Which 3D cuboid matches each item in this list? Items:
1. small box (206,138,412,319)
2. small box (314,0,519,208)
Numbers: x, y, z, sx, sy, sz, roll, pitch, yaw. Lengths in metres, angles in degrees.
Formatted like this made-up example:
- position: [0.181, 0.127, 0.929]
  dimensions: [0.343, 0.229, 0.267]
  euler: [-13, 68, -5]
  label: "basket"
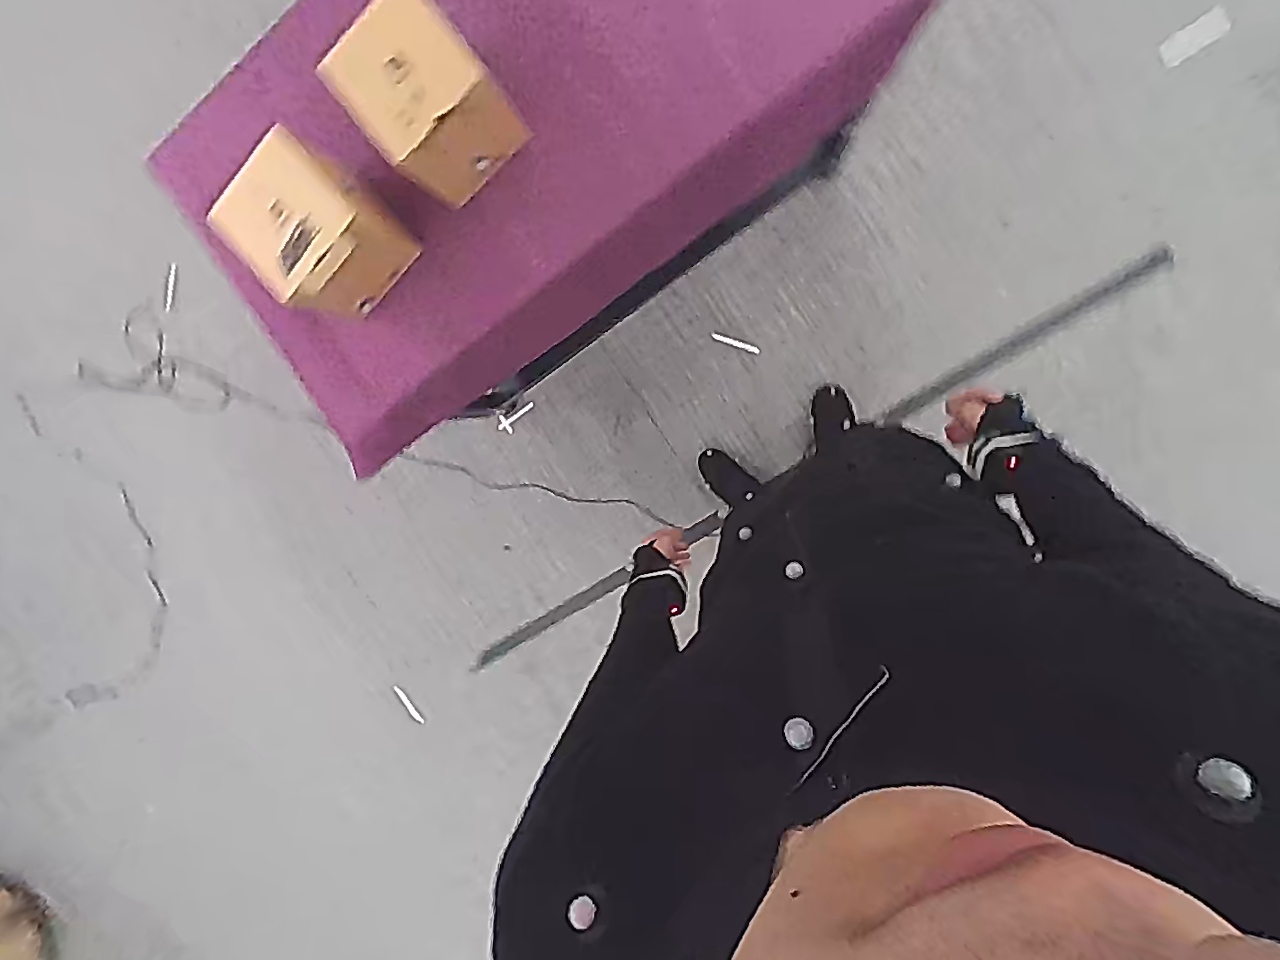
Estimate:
- position: [-0.498, -0.371, 0.840]
  dimensions: [0.168, 0.176, 0.179]
  euler: [-43, 89, 12]
  label: "small box"
- position: [-0.312, -0.540, 0.787]
  dimensions: [0.168, 0.176, 0.179]
  euler: [-39, 91, 12]
  label: "small box"
